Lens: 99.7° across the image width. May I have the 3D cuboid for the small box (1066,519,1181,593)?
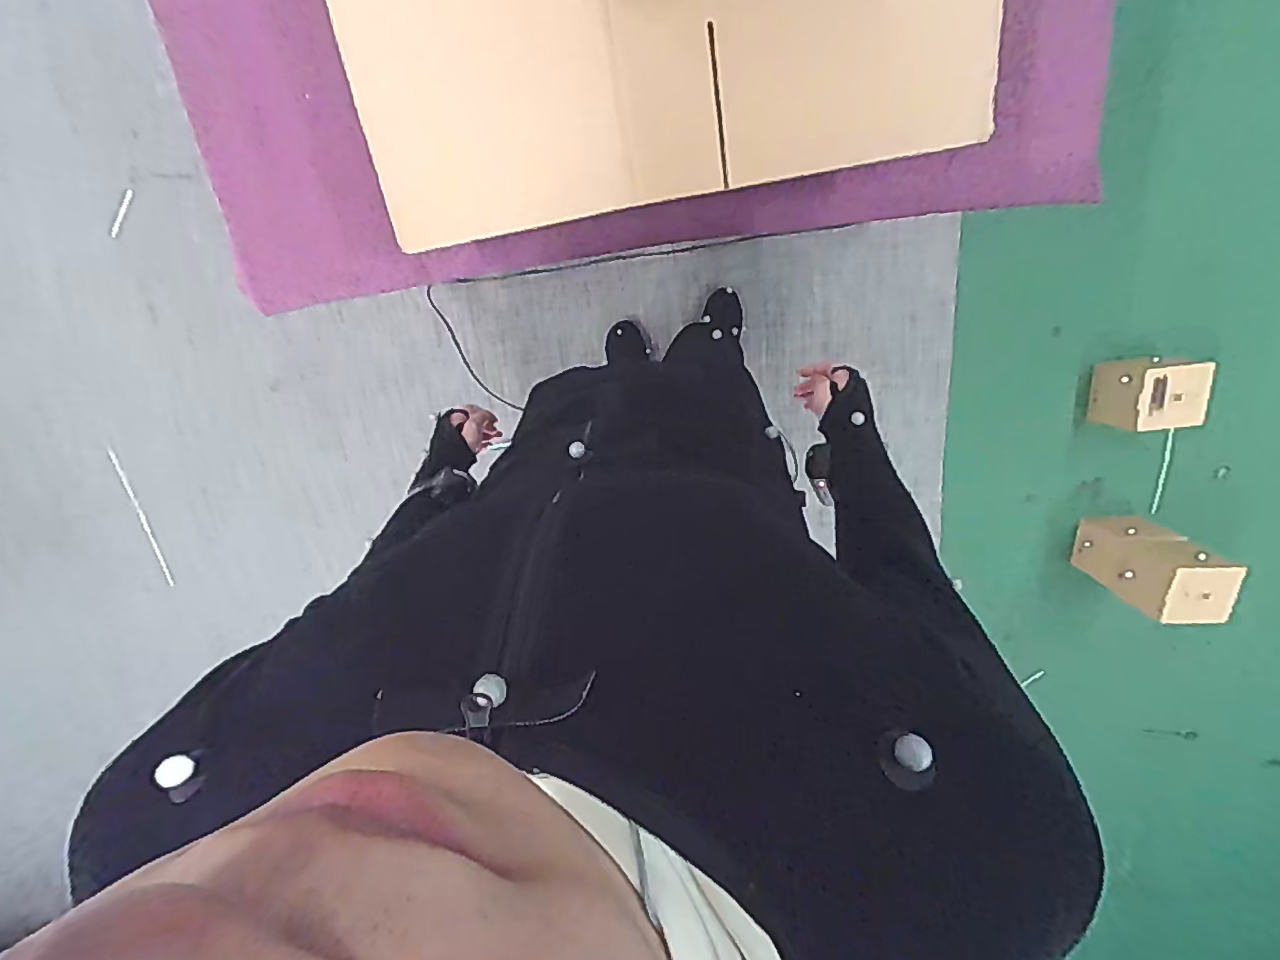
[{"bbox_3d":[1.449,0.225,1.631,0.179,0.176,0.168,-3,109,2],"label":"small box"}]

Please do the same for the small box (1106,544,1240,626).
[{"bbox_3d":[1.442,0.281,1.476,0.179,0.176,0.168,-1,109,2],"label":"small box"}]
